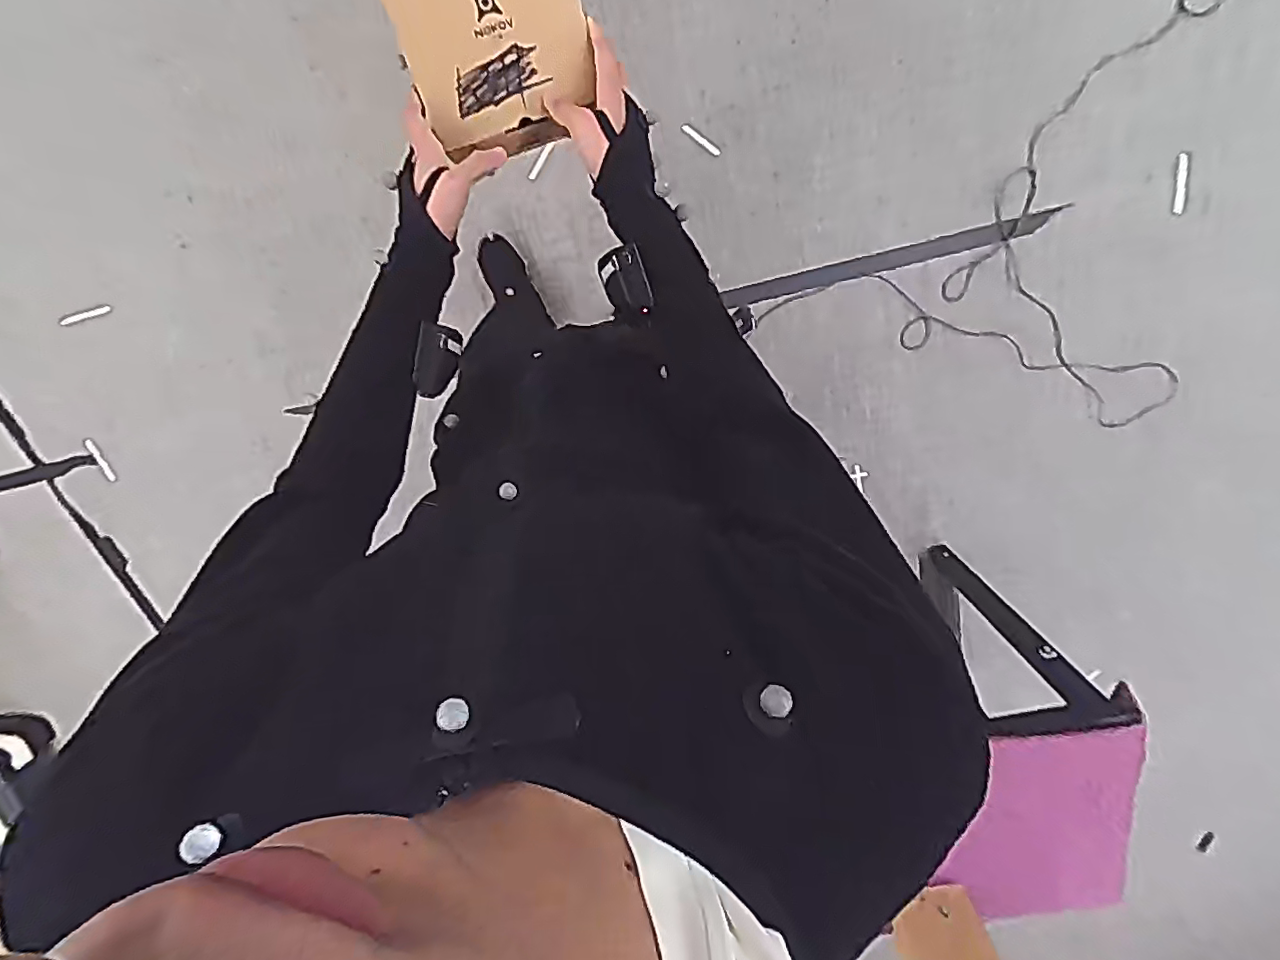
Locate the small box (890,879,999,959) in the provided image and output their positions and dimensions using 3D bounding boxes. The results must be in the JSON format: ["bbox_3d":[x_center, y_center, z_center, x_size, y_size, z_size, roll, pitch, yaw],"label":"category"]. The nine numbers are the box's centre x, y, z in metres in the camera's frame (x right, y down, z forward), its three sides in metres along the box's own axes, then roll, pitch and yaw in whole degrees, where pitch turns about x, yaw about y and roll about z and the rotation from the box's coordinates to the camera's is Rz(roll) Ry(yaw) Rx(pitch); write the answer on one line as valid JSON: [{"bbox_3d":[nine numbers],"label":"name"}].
[{"bbox_3d":[0.685,1.052,1.228,0.168,0.176,0.179,-11,112,5],"label":"small box"}]

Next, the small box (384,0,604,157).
[{"bbox_3d":[-0.145,-0.442,0.538,0.168,0.176,0.179,-20,116,-3],"label":"small box"}]
